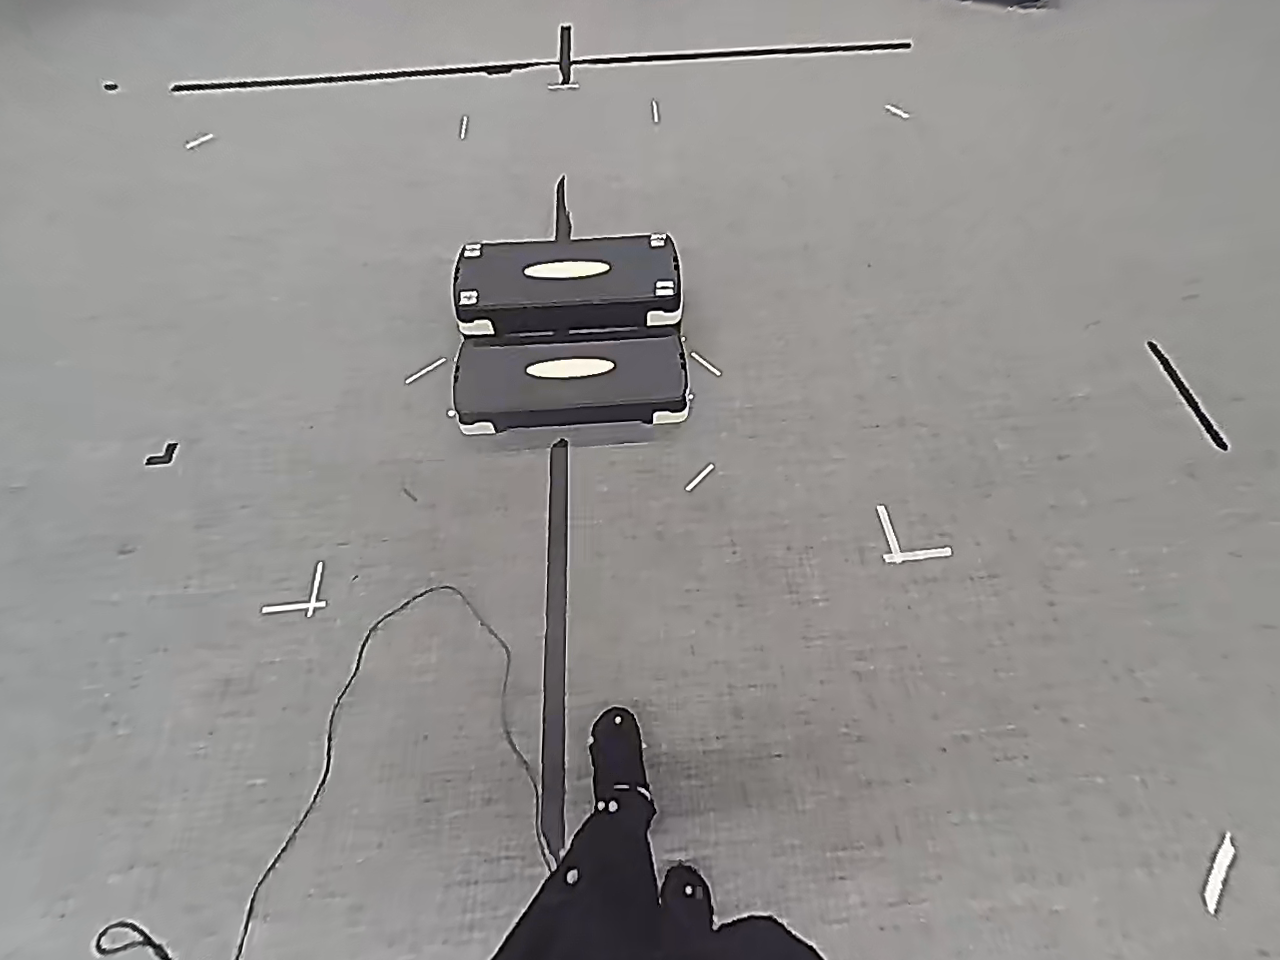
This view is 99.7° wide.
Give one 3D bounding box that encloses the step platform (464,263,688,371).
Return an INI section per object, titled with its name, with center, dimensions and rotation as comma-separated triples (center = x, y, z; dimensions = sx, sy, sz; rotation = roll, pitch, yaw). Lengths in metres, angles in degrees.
[step platform]
center = -0.192, -0.515, 1.693
dimensions = 0.684, 0.204, 0.286
rotation = 0, 61, 0
